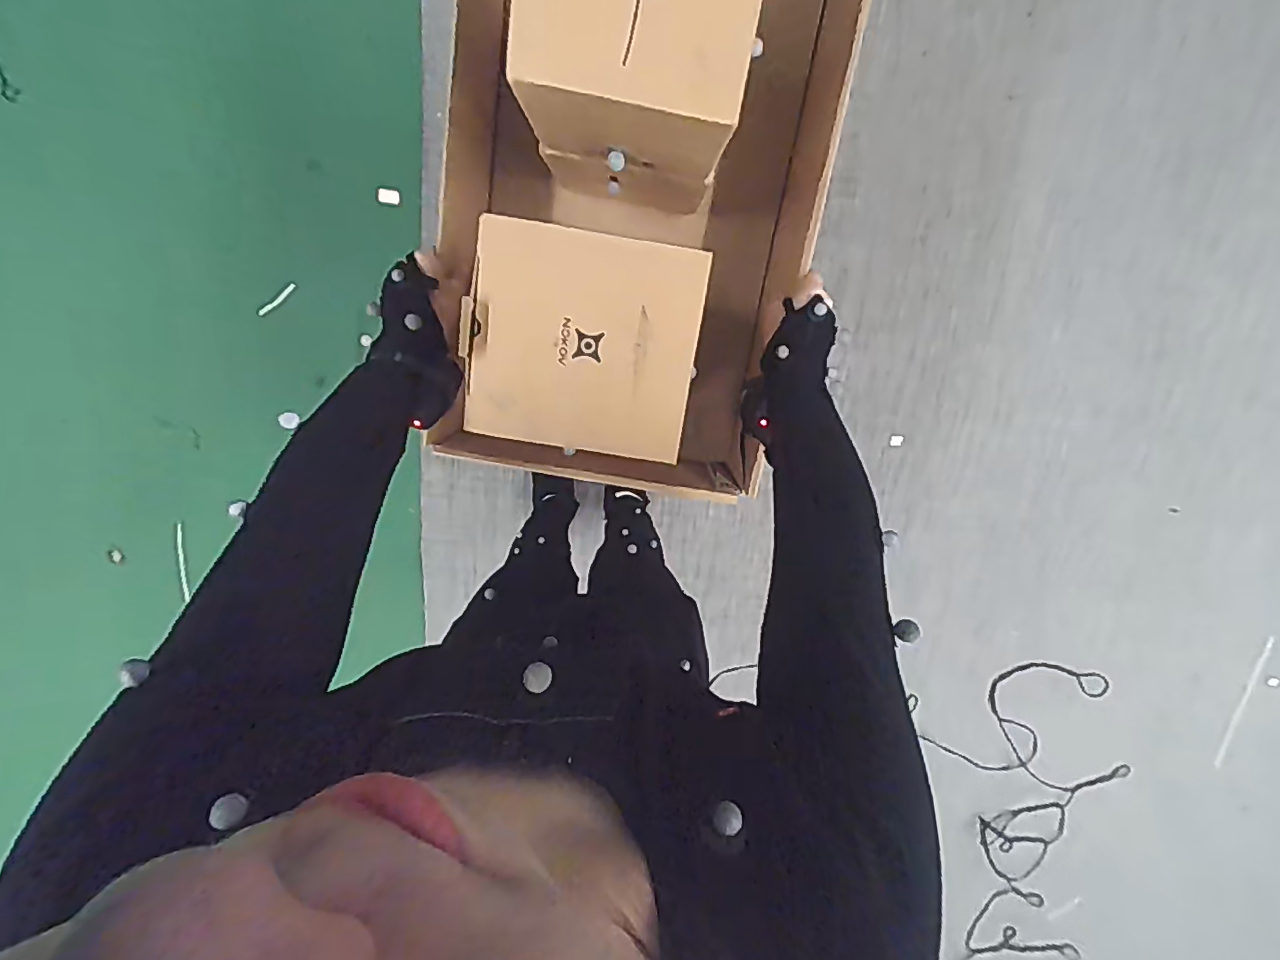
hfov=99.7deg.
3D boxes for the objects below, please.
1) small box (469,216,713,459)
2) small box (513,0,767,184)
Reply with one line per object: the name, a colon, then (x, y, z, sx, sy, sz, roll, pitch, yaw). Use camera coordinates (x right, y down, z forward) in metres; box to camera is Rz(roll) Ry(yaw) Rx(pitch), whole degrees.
small box: (-0.044, -0.128, 0.505, 0.179, 0.176, 0.168, 8, 105, -4)
small box: (0.004, -0.367, 0.437, 0.168, 0.176, 0.179, 10, 108, -5)
